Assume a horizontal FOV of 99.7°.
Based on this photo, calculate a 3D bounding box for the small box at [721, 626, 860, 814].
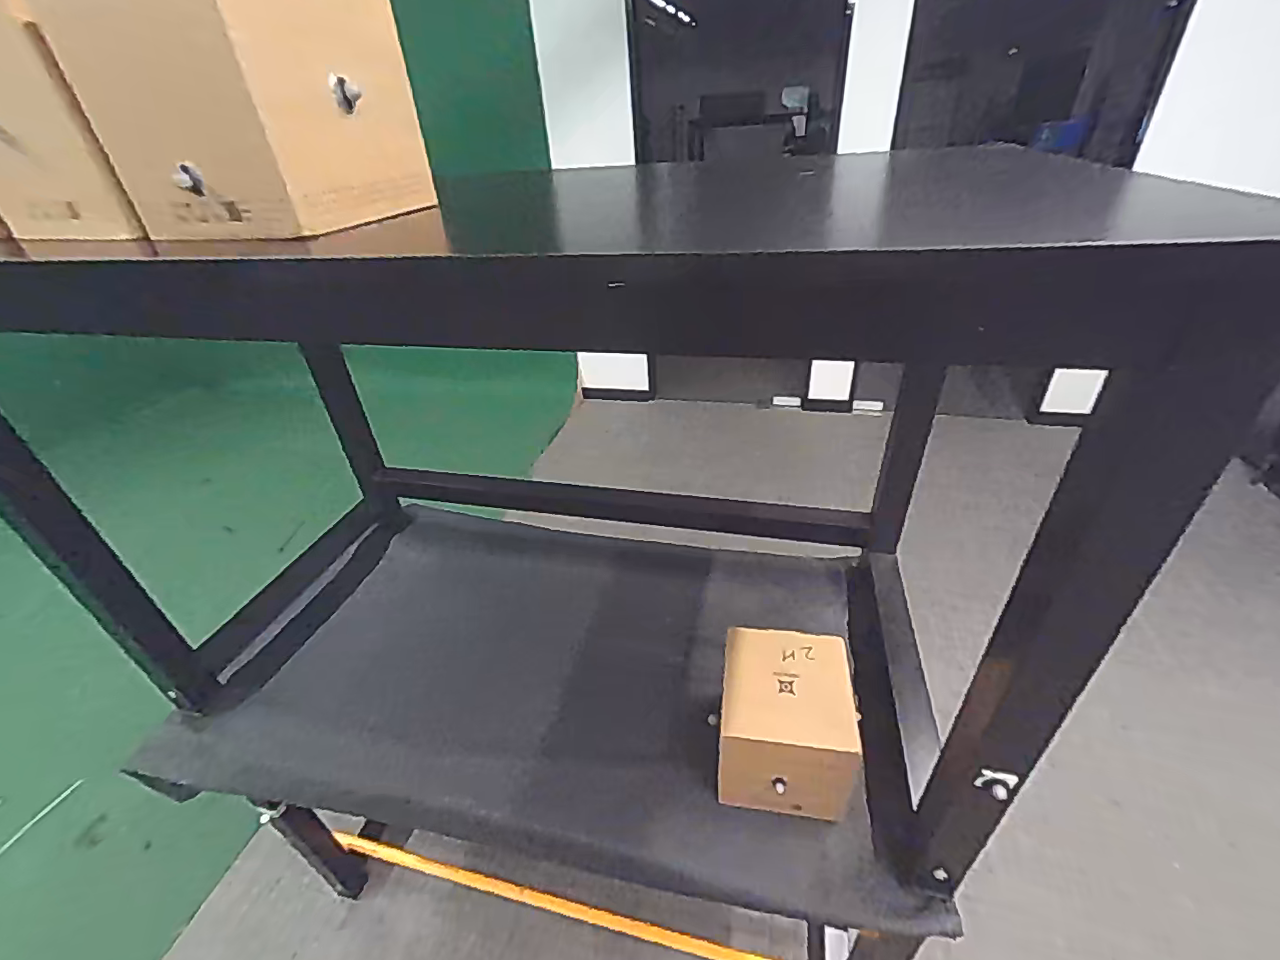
[{"bbox_3d":[0.202,0.335,0.761,0.168,0.176,0.179,3,34,10],"label":"small box"}]

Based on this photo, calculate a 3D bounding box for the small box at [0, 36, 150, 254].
[{"bbox_3d":[-0.662,-0.339,0.549,0.168,0.176,0.179,5,36,12],"label":"small box"}]
